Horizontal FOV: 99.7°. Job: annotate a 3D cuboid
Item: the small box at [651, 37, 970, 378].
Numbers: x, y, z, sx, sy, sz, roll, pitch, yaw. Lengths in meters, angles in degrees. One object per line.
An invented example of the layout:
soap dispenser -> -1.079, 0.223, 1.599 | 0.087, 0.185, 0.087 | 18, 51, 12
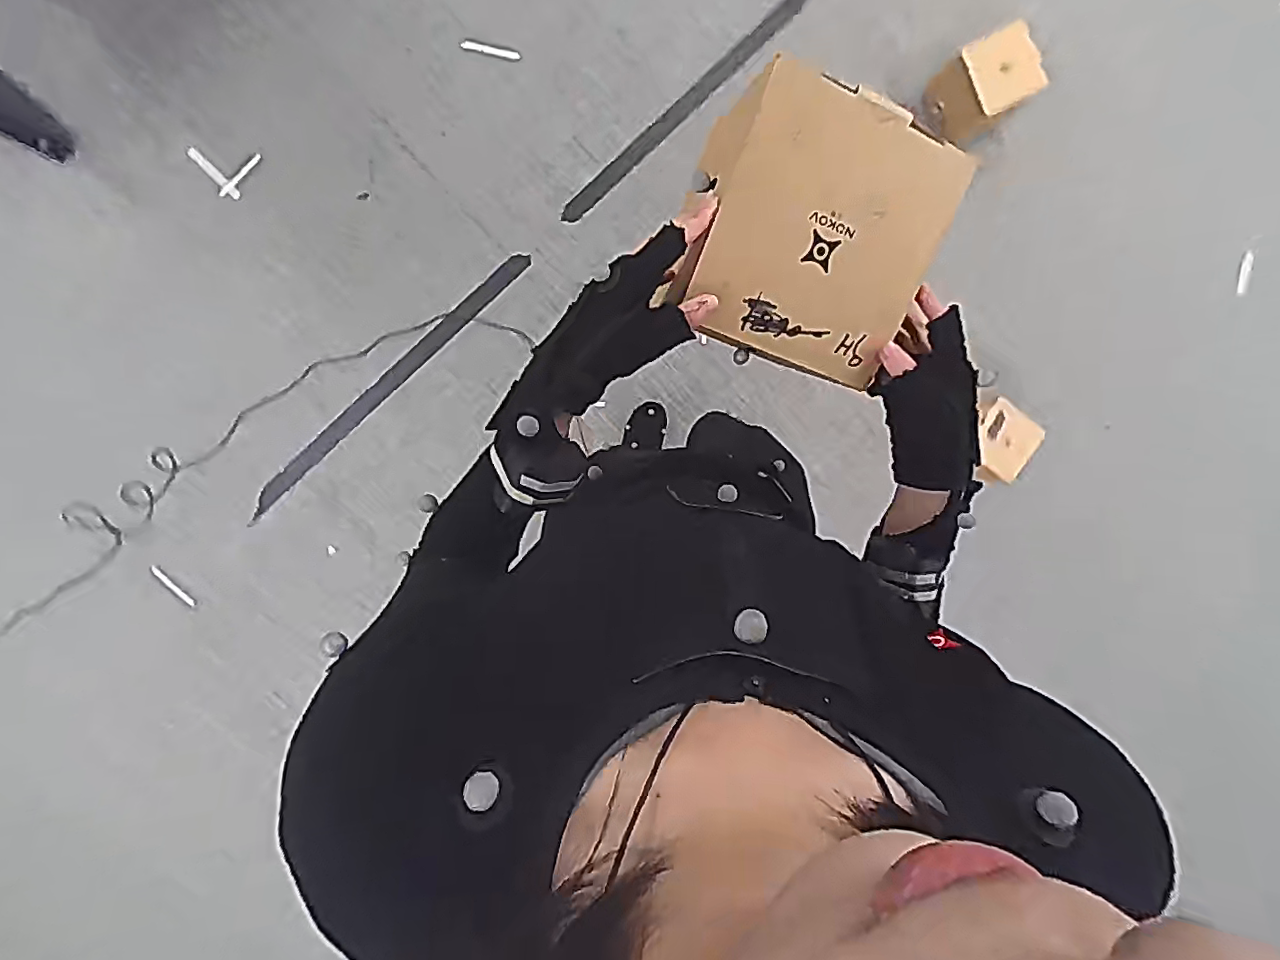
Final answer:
small box -> 0.118, -0.206, 0.456 | 0.168, 0.176, 0.179 | 17, 106, -13

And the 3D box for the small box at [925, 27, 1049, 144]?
small box -> 0.877, -0.985, 1.381 | 0.179, 0.176, 0.168 | -27, 97, 0

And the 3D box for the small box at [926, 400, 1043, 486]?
small box -> 0.941, -0.104, 1.496 | 0.179, 0.176, 0.168 | 35, 93, -8
